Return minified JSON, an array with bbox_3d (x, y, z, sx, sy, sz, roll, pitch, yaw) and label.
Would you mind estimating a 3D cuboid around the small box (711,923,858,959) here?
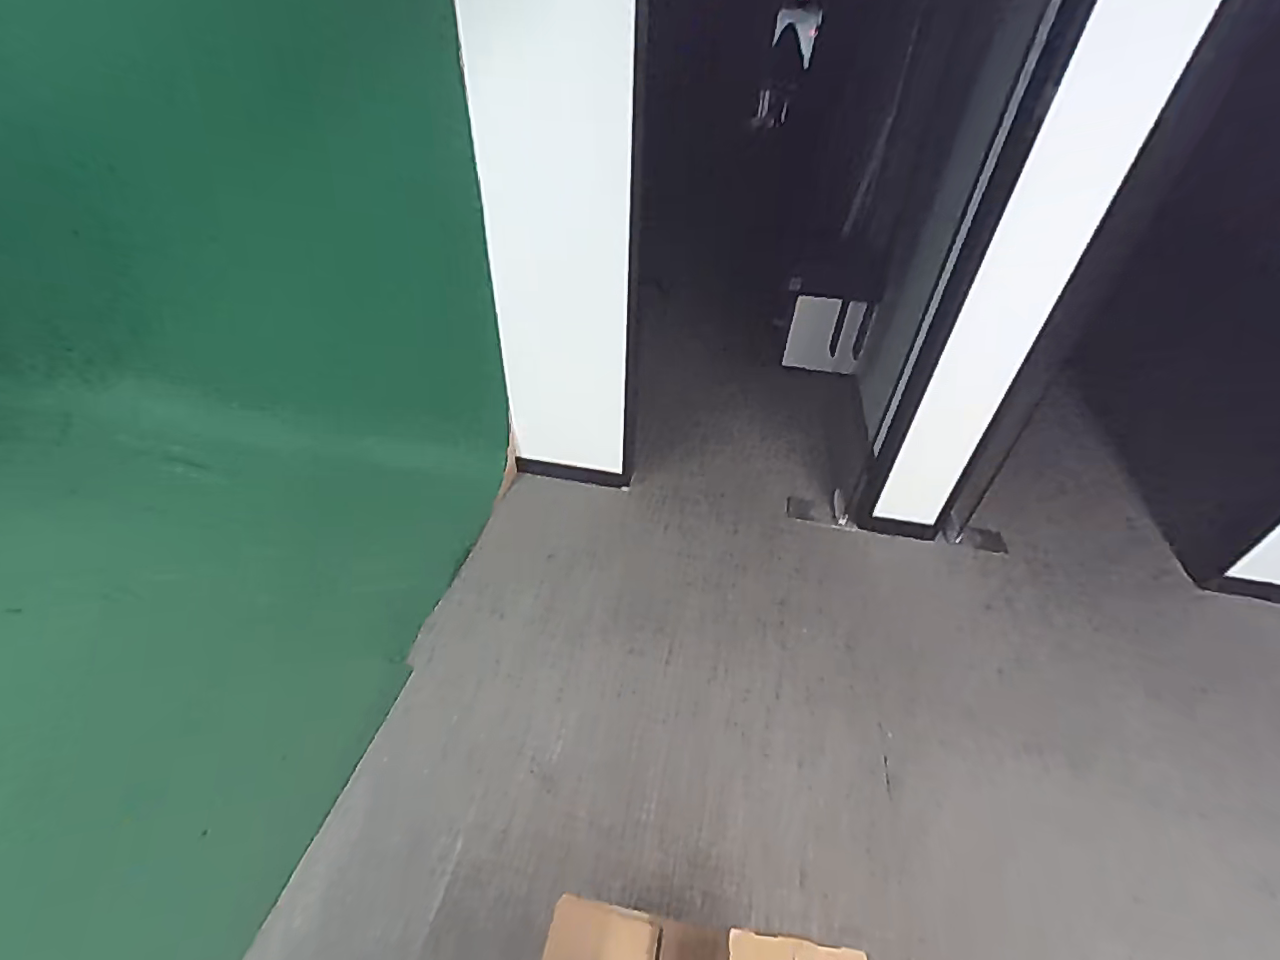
[{"bbox_3d":[0.171,0.680,0.656,0.168,0.176,0.179,6,41,6],"label":"small box"}]
